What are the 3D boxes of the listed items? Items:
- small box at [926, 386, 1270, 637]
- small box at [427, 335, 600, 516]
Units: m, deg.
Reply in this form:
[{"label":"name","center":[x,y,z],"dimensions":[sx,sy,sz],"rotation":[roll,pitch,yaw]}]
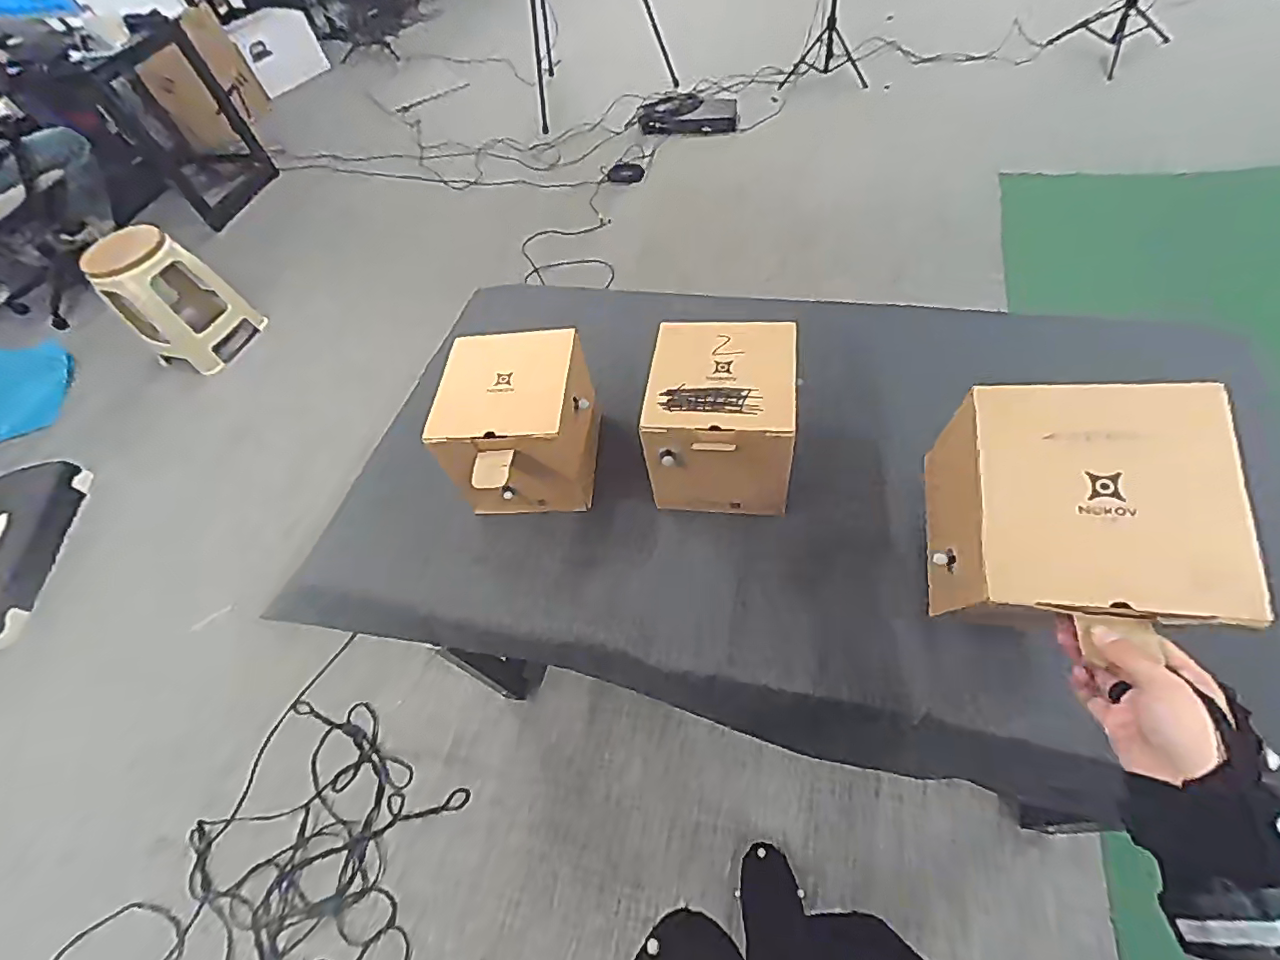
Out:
[{"label":"small box","center":[0.359,0.036,0.469],"dimensions":[0.168,0.176,0.179],"rotation":[1,70,16]},{"label":"small box","center":[-0.151,-0.068,0.722],"dimensions":[0.168,0.176,0.179],"rotation":[-2,56,8]}]
